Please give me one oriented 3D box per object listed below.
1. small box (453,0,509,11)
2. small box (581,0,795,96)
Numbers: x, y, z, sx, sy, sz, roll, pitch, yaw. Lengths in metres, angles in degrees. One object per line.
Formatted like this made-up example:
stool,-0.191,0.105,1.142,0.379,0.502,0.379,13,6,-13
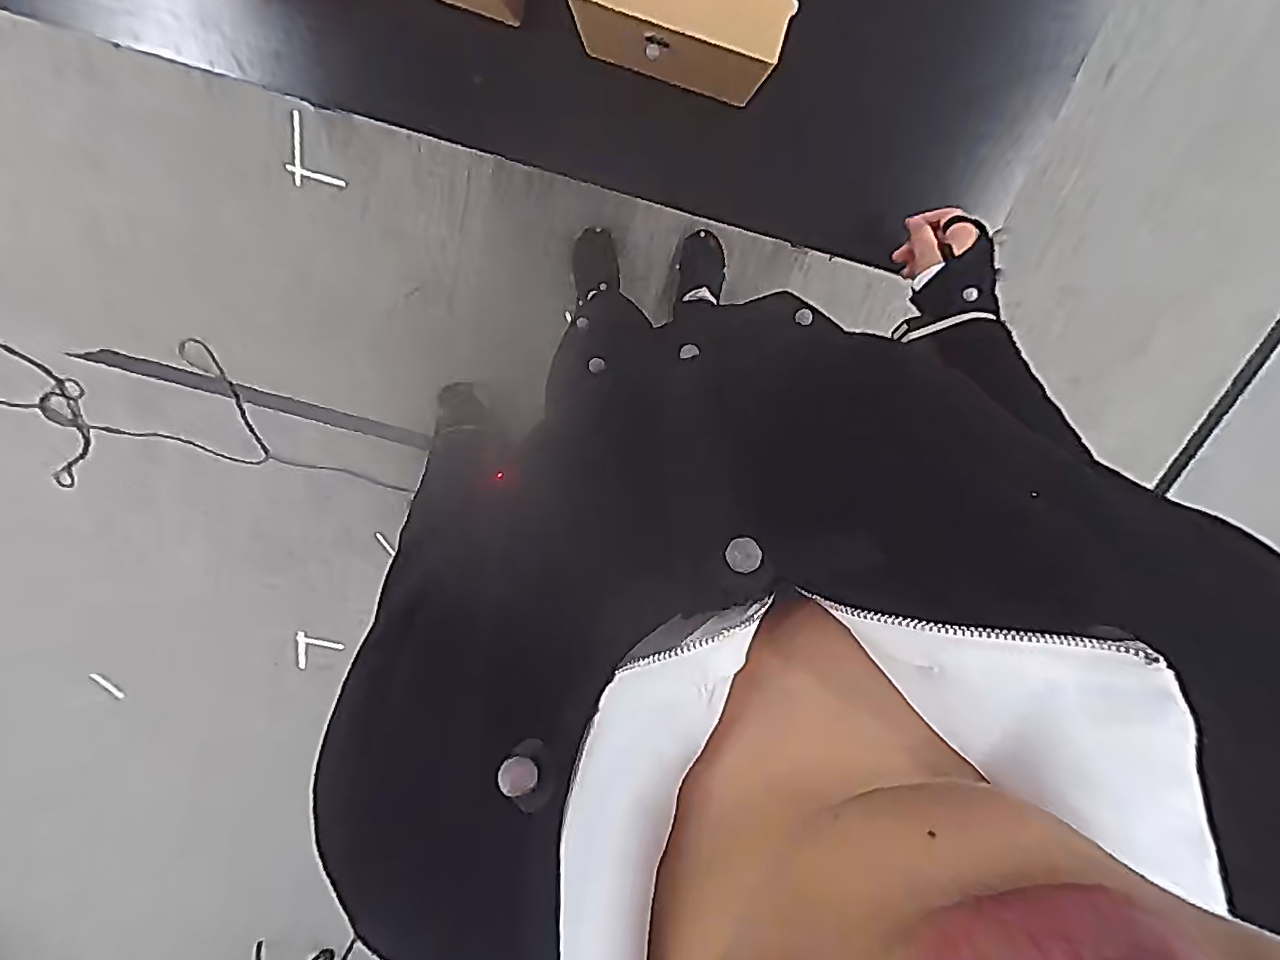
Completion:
small box,-0.183,-0.522,0.433,0.179,0.176,0.168,15,114,-6
small box,0.048,-0.458,0.459,0.179,0.176,0.168,14,115,-6
